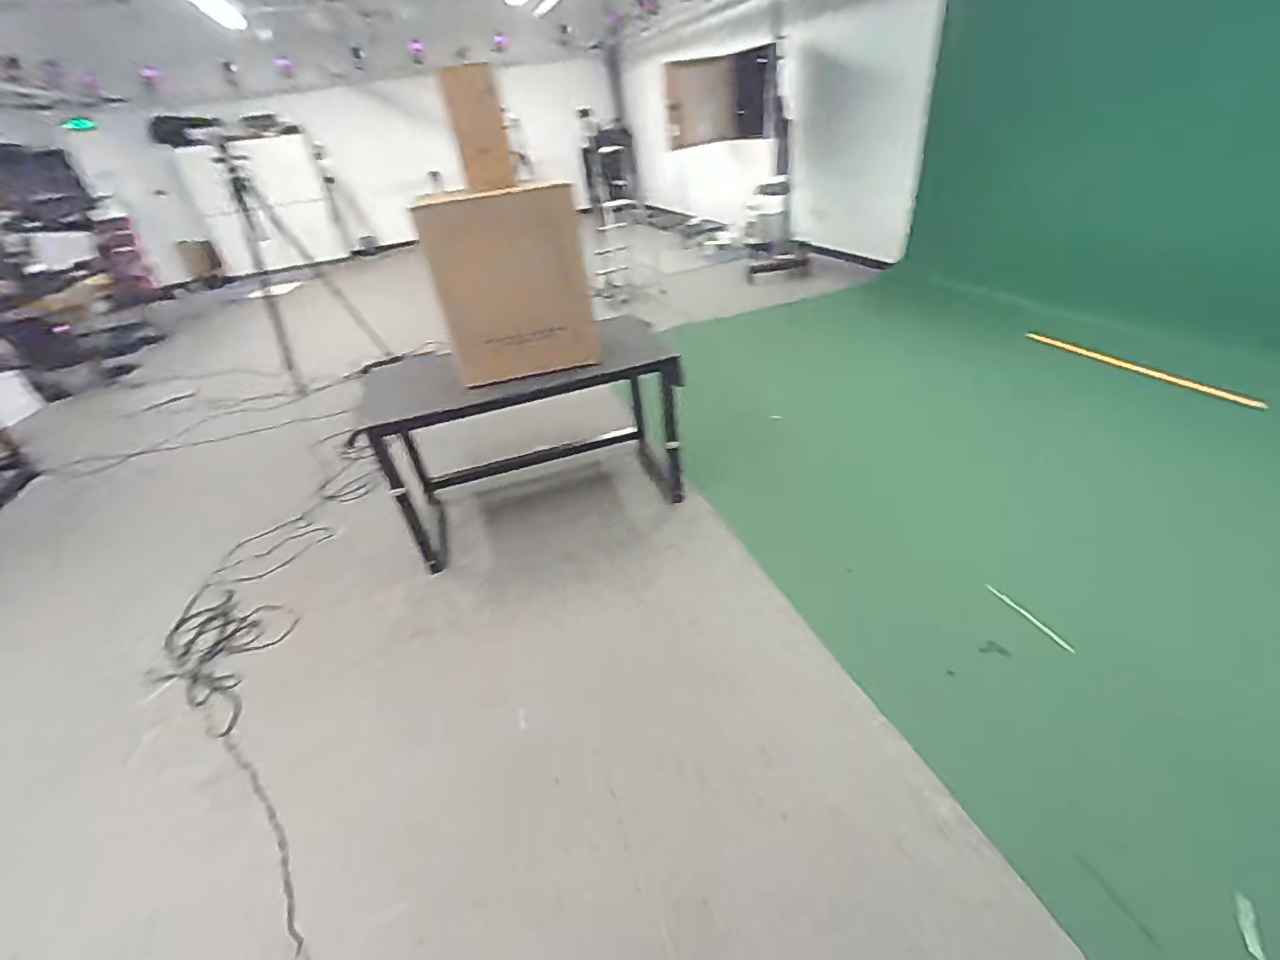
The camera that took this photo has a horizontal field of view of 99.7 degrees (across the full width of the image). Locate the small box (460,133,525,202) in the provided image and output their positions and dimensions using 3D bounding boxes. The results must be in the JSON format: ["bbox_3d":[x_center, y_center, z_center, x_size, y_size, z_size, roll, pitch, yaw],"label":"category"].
[{"bbox_3d":[-0.480,-1.034,1.788,0.179,0.176,0.168,-12,36,-6],"label":"small box"}]
